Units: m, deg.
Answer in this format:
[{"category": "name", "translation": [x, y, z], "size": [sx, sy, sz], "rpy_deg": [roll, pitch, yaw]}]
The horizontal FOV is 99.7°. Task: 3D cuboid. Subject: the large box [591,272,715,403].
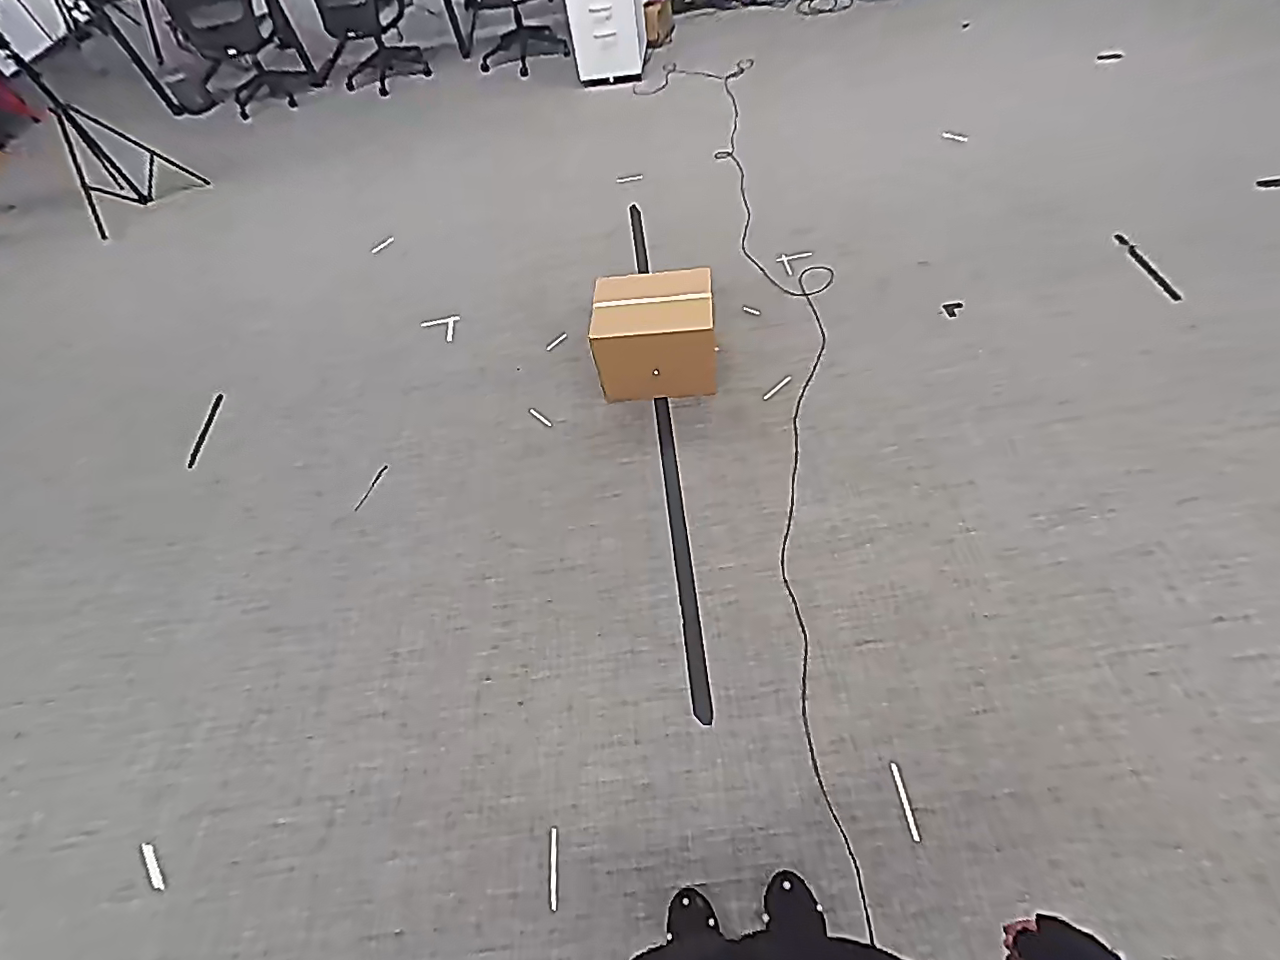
[{"category": "large box", "translation": [0.056, -0.499, 1.925], "size": [0.408, 0.320, 0.320], "rpy_deg": [-3, 57, 7]}]
